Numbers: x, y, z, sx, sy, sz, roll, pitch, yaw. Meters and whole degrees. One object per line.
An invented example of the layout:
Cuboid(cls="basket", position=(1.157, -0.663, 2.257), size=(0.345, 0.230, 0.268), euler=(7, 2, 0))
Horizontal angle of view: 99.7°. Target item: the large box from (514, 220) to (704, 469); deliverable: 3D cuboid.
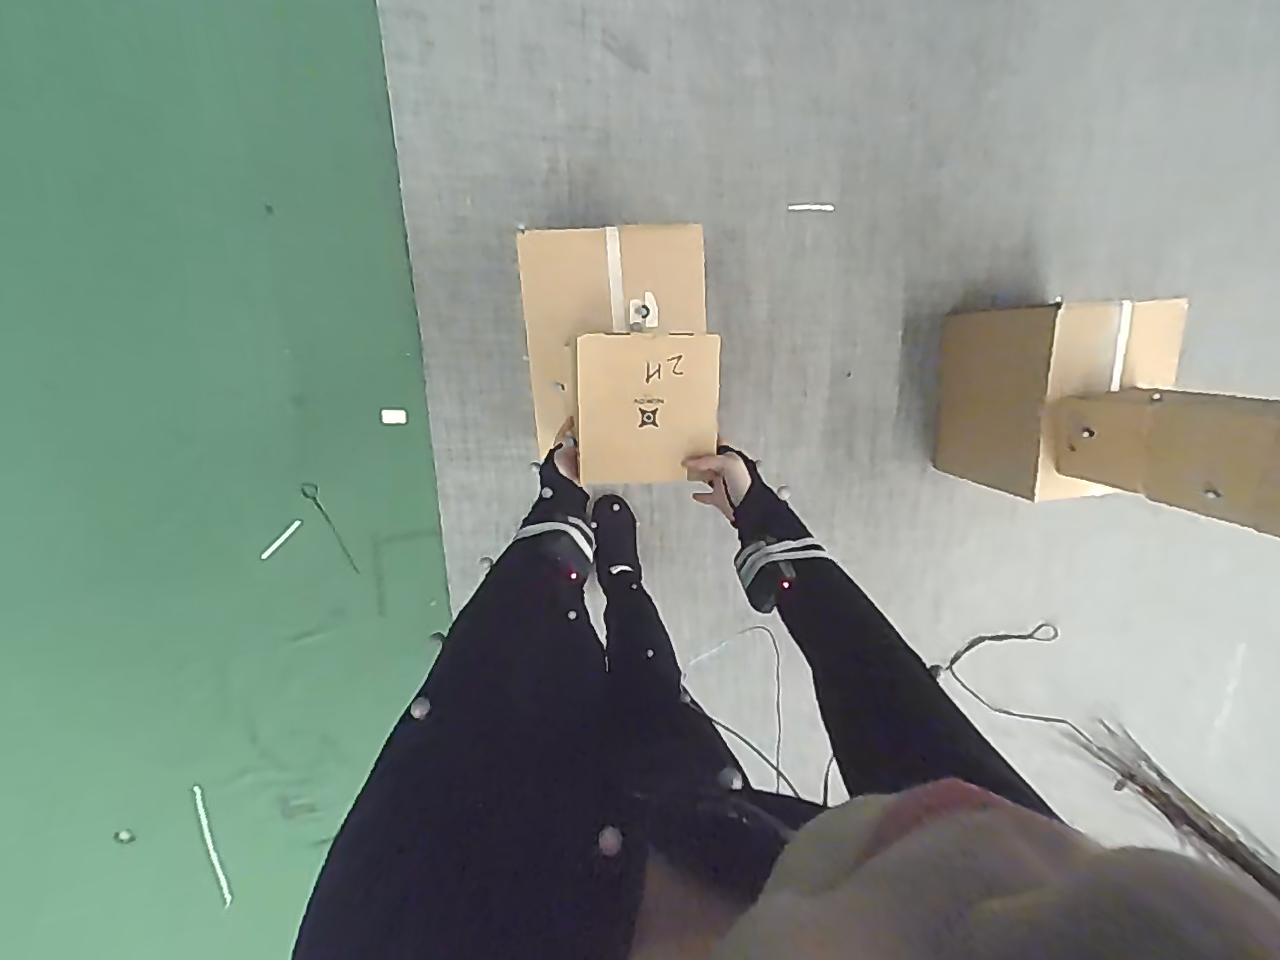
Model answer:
Cuboid(cls="large box", position=(-0.057, -0.260, 1.077), size=(0.320, 0.320, 0.408), euler=(-6, 104, -8))

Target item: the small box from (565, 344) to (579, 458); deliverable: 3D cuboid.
Cuboid(cls="small box", position=(-0.026, -0.133, 0.859), size=(0.179, 0.176, 0.168), euler=(-3, 104, -8))

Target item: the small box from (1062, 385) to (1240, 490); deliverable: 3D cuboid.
Cuboid(cls="small box", position=(0.977, -0.090, 1.048), size=(0.179, 0.176, 0.168), euler=(-7, 106, -7))

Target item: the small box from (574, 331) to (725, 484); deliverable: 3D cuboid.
Cuboid(cls="small box", position=(0.003, -0.100, 0.701), size=(0.168, 0.176, 0.179), euler=(-2, 104, -9))
